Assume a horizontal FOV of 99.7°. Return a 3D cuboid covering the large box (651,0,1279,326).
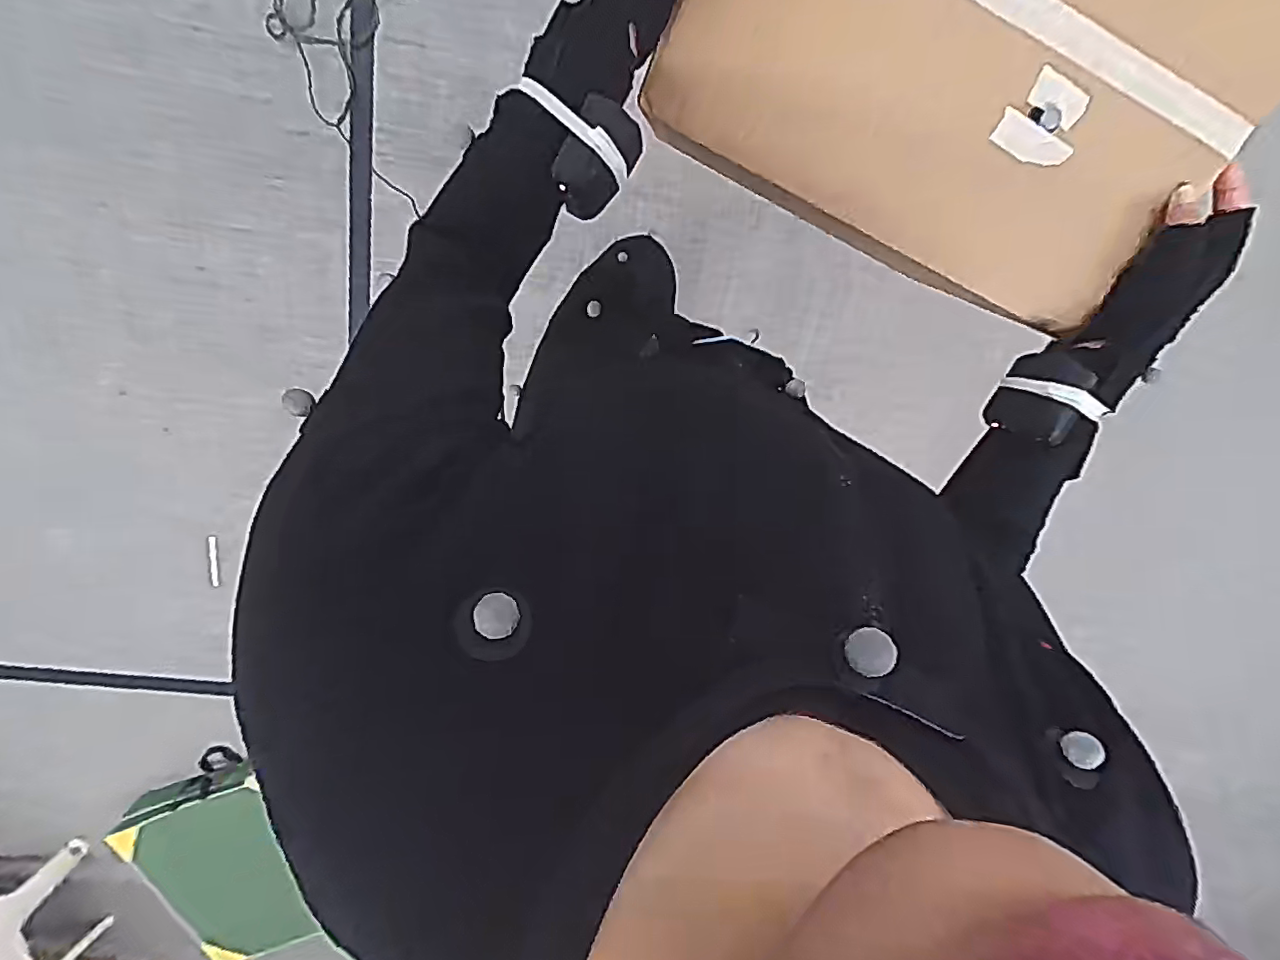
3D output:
[{"bbox_3d":[0.252,-0.398,0.500,0.408,0.320,0.320,23,119,-10],"label":"large box"}]
